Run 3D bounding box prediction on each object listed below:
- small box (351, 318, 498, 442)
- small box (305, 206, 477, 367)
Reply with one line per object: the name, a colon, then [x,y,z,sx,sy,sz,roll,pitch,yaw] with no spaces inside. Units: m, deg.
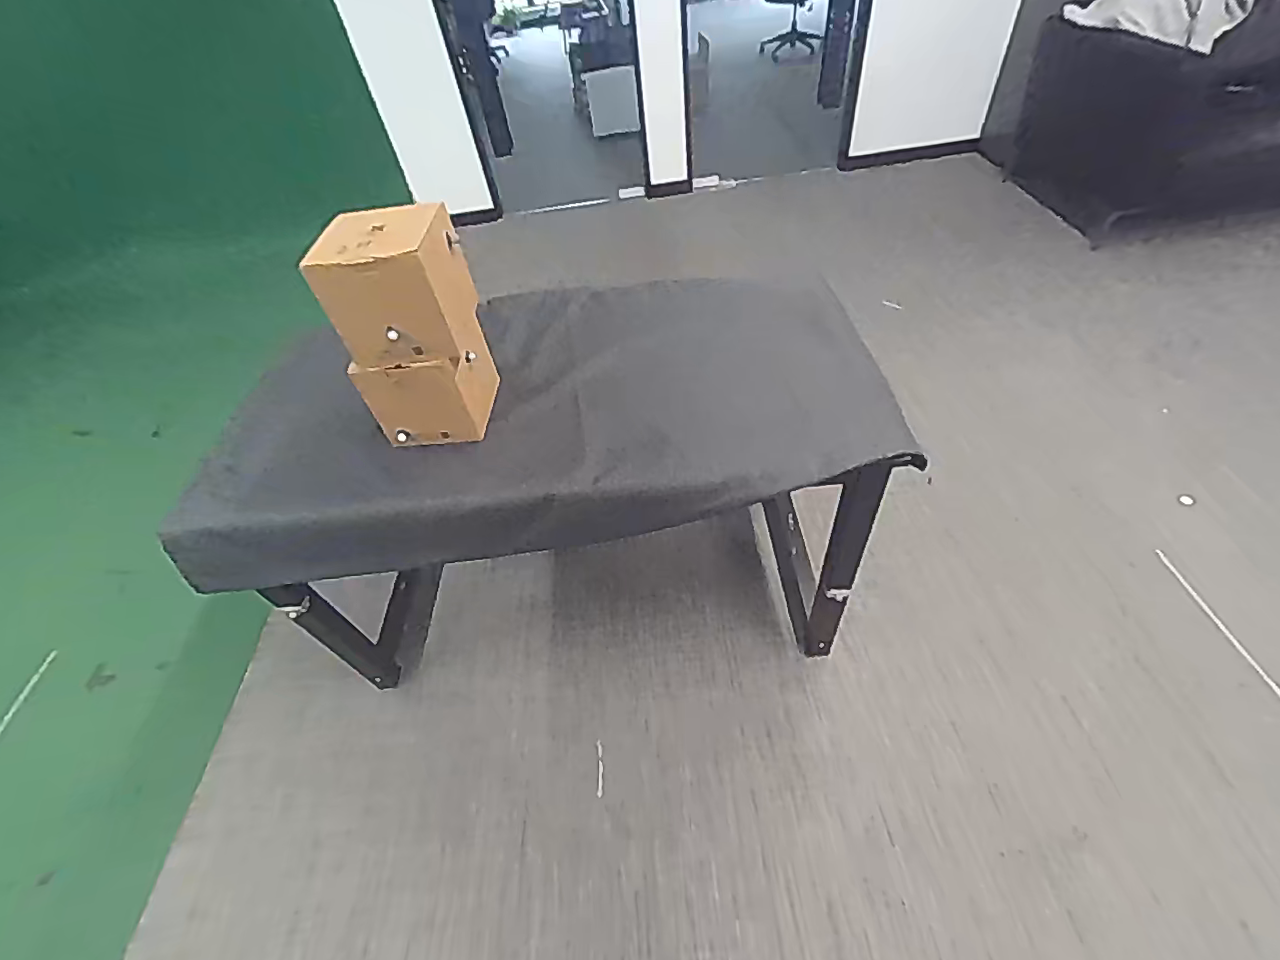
small box: [-0.364,-0.180,0.954,0.168,0.176,0.179,-4,47,4]
small box: [-0.366,-0.297,0.838,0.168,0.176,0.179,-6,47,3]
